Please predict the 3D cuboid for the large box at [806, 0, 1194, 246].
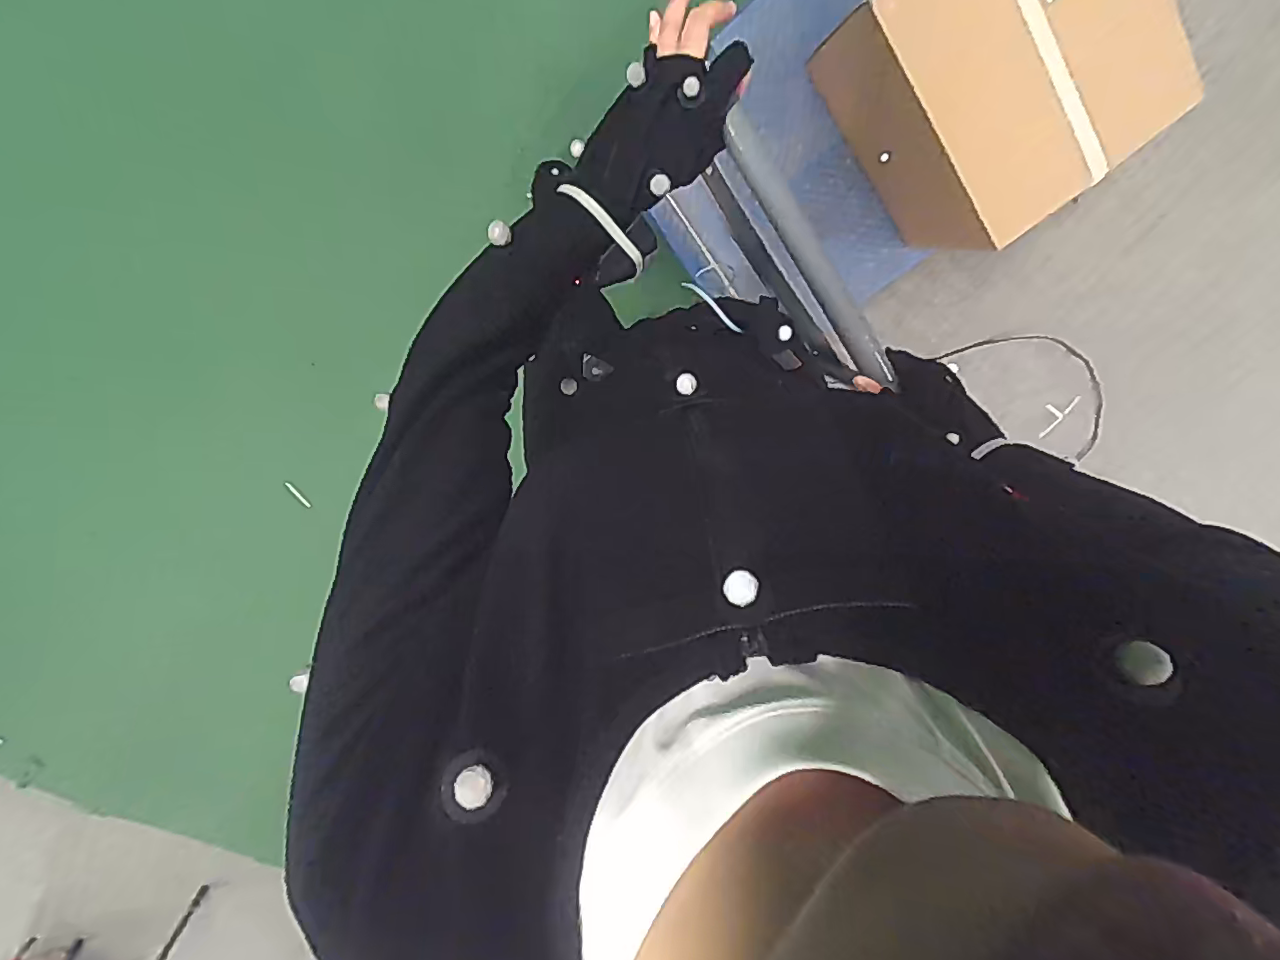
[{"bbox_3d":[0.536,-0.647,0.872,0.320,0.320,0.408,-36,108,15],"label":"large box"}]
